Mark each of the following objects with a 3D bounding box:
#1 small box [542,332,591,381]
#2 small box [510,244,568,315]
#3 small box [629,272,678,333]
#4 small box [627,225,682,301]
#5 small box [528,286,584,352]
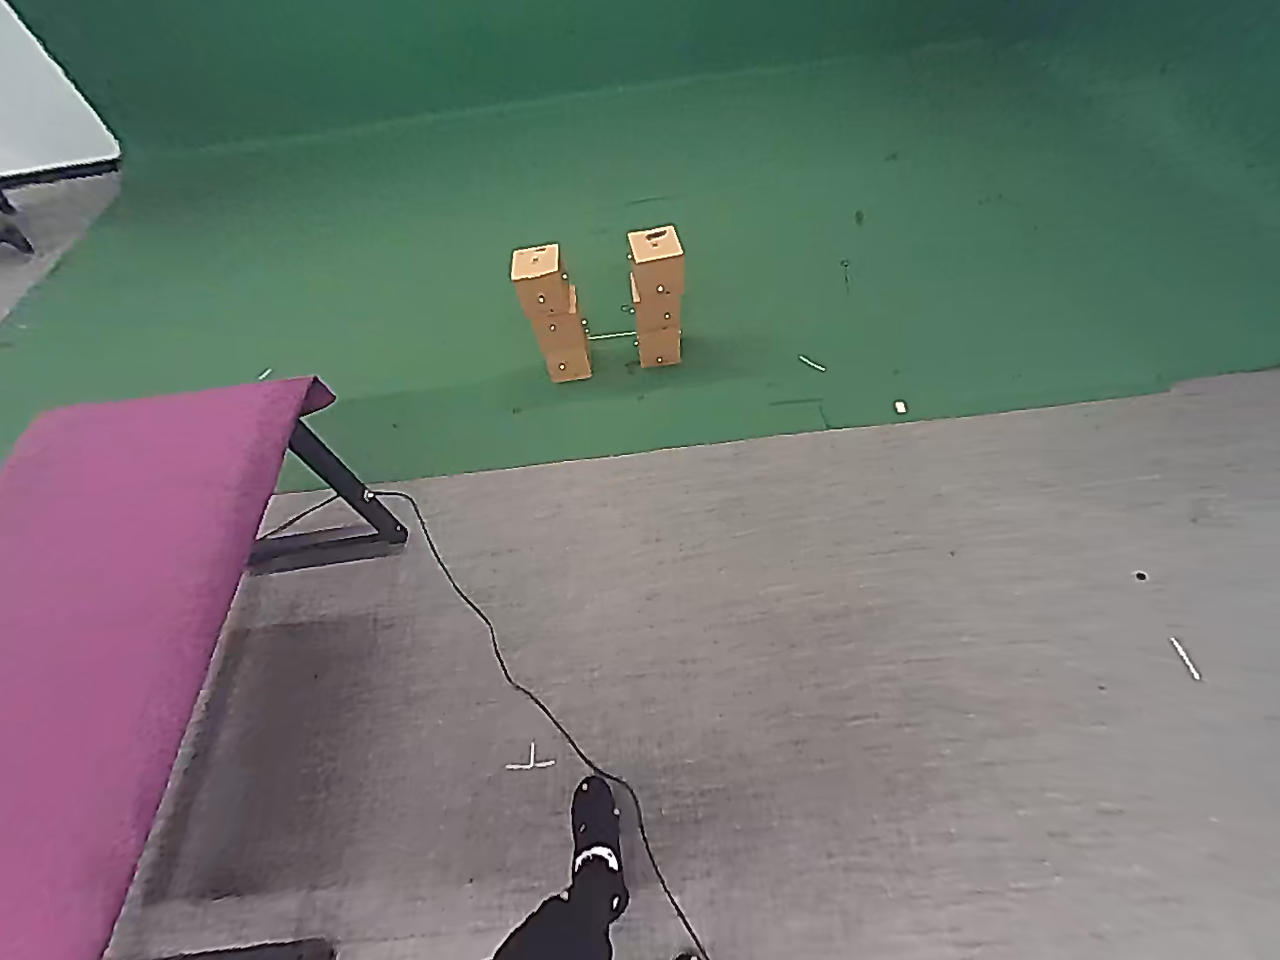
[{"bbox_3d":[-0.296,-0.522,2.203,0.168,0.176,0.179,-9,55,2],"label":"small box"},{"bbox_3d":[-0.357,-0.711,1.940,0.168,0.176,0.179,-8,56,3],"label":"small box"},{"bbox_3d":[0.054,-0.680,2.063,0.168,0.176,0.179,-7,56,1],"label":"small box"},{"bbox_3d":[0.053,-0.771,1.927,0.168,0.176,0.179,-12,58,-2],"label":"small box"},{"bbox_3d":[-0.317,-0.610,2.065,0.179,0.176,0.168,-8,55,2],"label":"small box"}]
